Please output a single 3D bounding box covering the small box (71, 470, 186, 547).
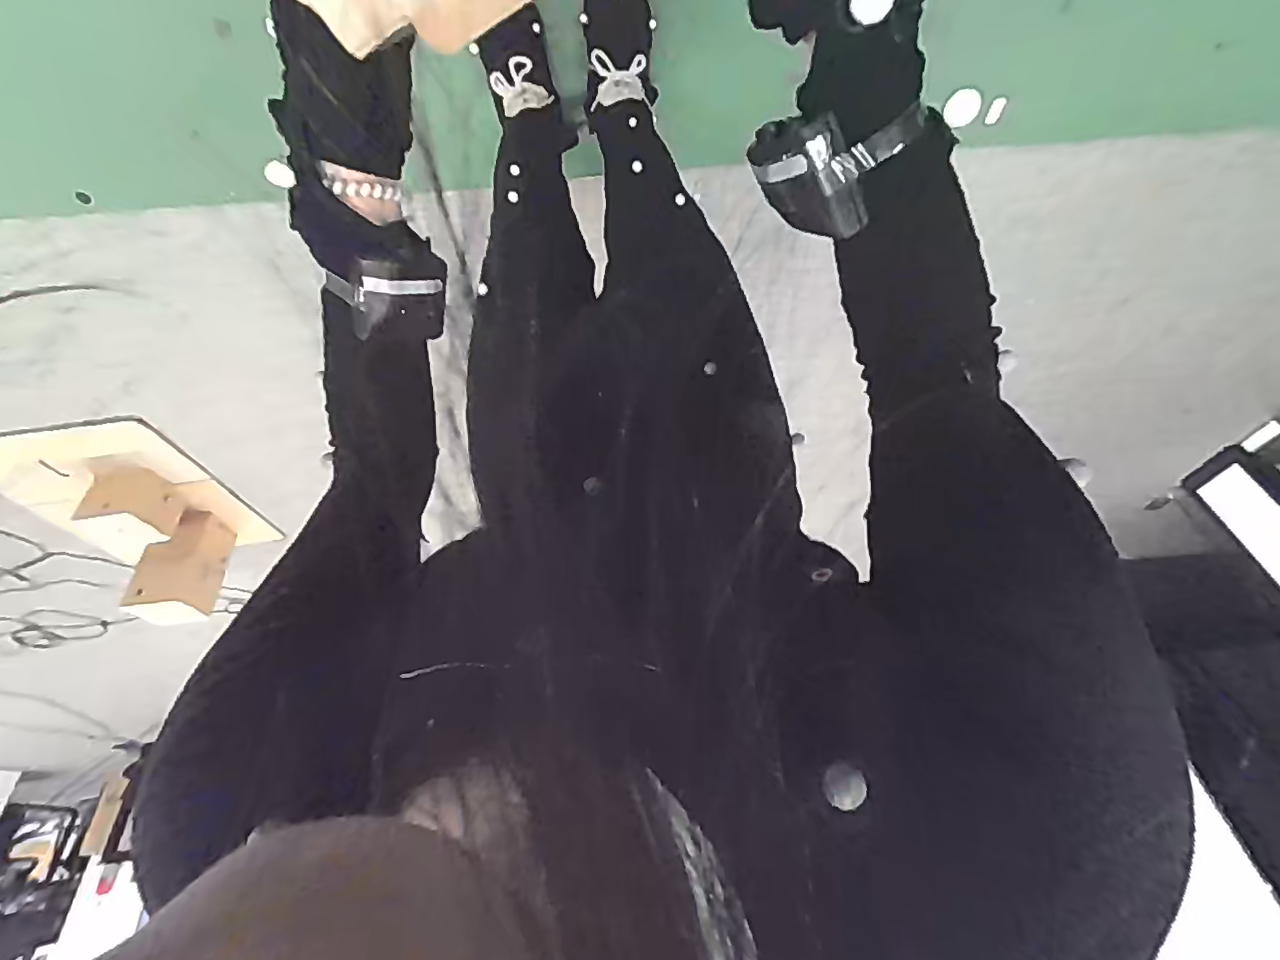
[{"bbox_3d":[-1.588,0.088,1.695,0.179,0.176,0.168,-10,144,0],"label":"small box"}]

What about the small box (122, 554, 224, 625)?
[{"bbox_3d":[-1.543,0.363,1.799,0.179,0.176,0.168,-7,146,-4],"label":"small box"}]
